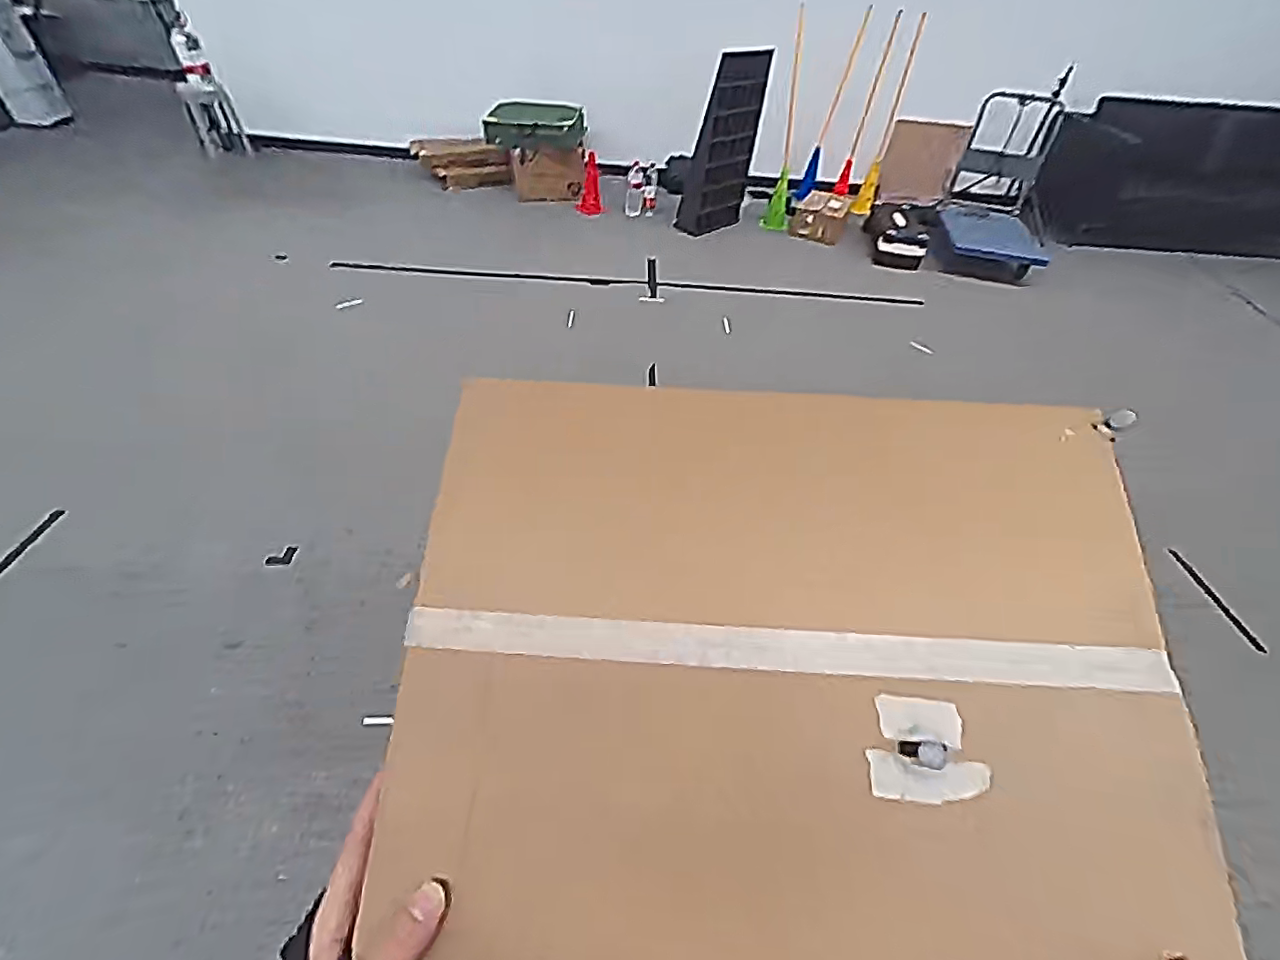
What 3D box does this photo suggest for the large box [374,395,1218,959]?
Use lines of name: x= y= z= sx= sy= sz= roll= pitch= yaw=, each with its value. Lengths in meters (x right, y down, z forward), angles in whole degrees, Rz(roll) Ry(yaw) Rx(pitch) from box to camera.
large box: x=0.075 y=0.145 z=0.439 sx=0.408 sy=0.320 sz=0.320 roll=2 pitch=71 yaw=1
